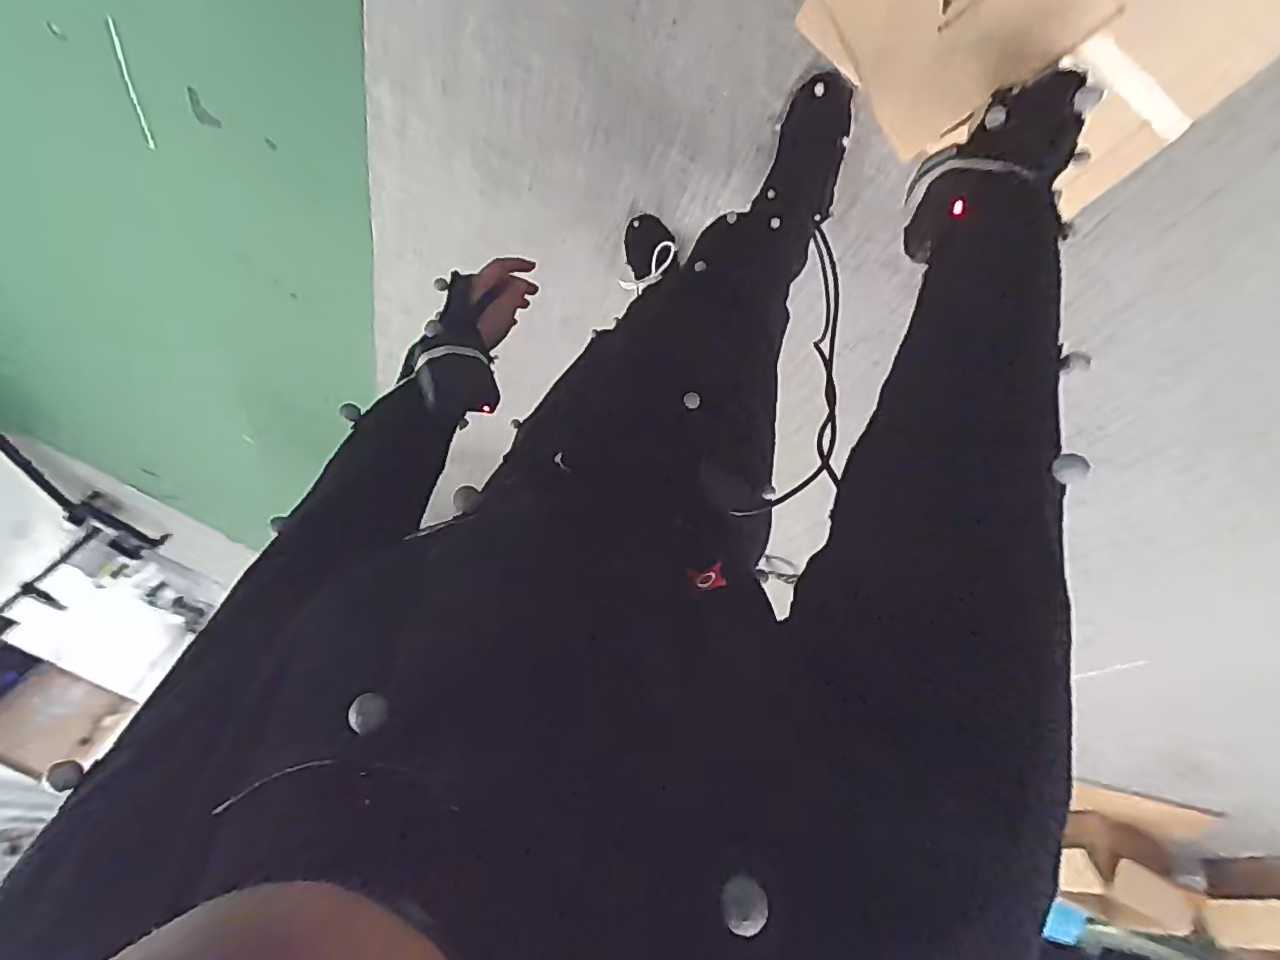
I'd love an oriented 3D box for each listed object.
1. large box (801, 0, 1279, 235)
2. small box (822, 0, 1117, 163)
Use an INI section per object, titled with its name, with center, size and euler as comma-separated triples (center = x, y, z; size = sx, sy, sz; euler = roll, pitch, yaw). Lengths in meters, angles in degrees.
[large box]
center = 0.456, -0.586, 0.624
size = 0.408, 0.320, 0.320
euler = 33, 142, -12
[small box]
center = 0.284, -0.425, 0.479
size = 0.168, 0.176, 0.179
euler = -21, 110, 42
